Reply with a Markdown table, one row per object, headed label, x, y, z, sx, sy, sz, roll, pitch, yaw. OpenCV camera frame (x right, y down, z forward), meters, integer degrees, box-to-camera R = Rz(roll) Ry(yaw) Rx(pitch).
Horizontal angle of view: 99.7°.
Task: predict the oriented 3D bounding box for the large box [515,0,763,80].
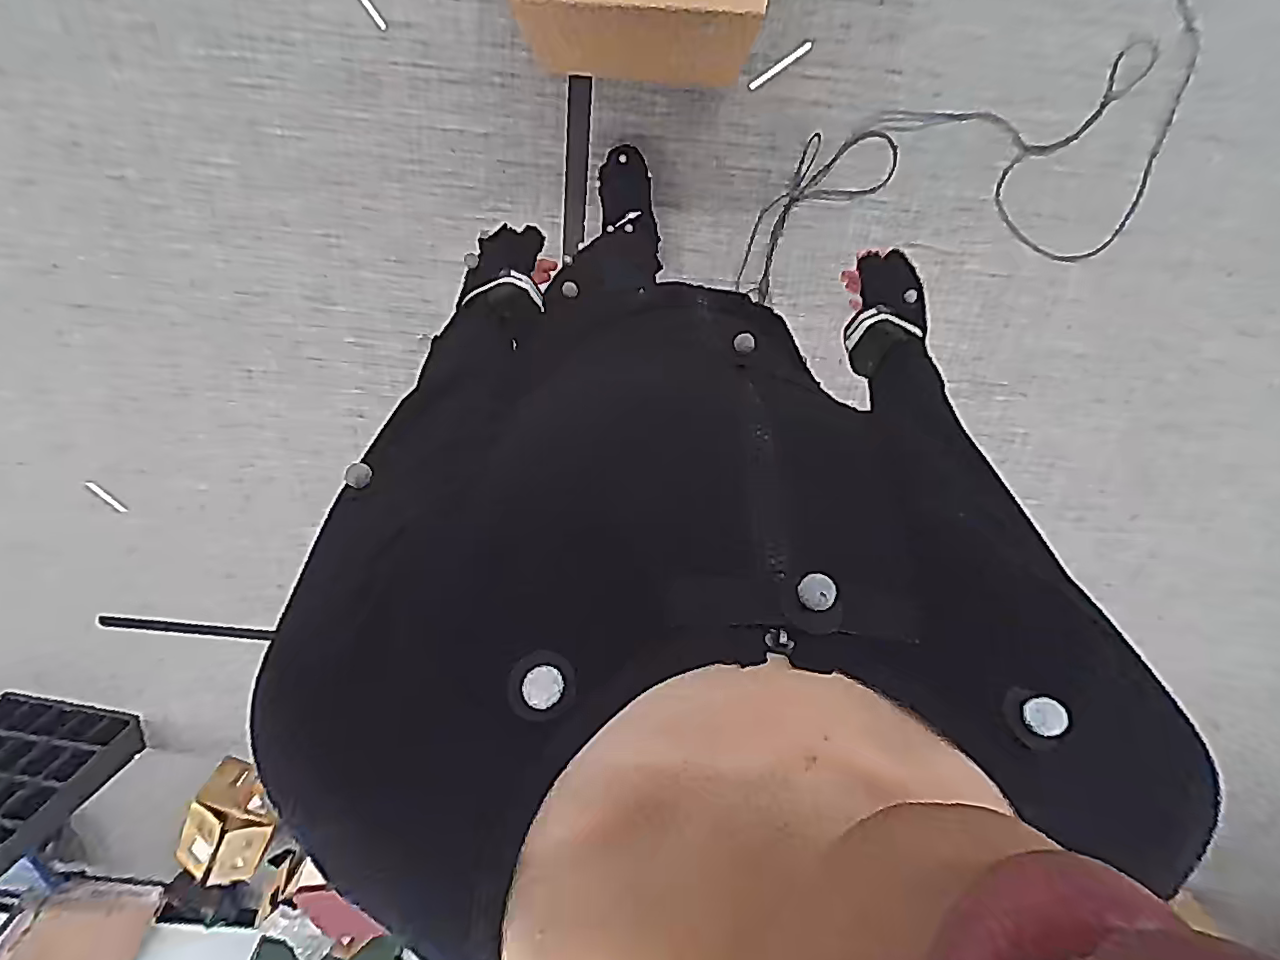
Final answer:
| label | x | y | z | sx | sy | sz | roll | pitch | yaw |
| --- | --- | --- | --- | --- | --- | --- | --- | --- | --- |
| large box | 0.000 | -0.933 | 0.927 | 0.408 | 0.320 | 0.320 | 3 | 108 | -1 |
